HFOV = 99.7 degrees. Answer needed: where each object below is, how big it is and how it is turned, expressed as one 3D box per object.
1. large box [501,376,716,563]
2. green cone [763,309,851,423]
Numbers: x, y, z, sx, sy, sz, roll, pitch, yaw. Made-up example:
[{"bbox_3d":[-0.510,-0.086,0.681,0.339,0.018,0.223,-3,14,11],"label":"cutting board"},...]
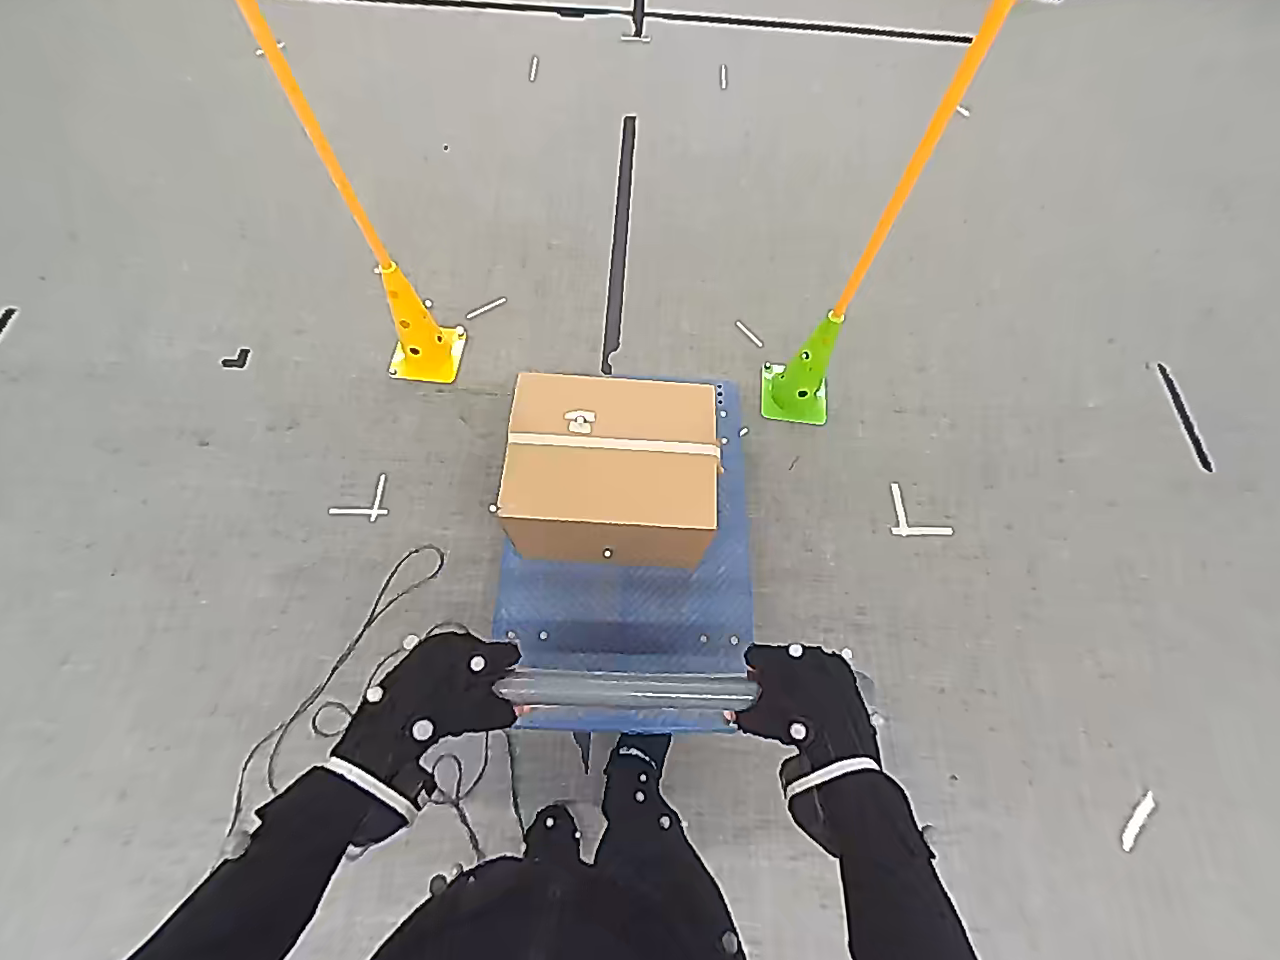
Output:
[{"bbox_3d":[-0.056,-0.006,1.188,0.408,0.320,0.320,4,67,-1],"label":"large box"},{"bbox_3d":[0.493,-0.341,1.520,0.202,0.368,0.200,7,66,-1],"label":"green cone"}]
